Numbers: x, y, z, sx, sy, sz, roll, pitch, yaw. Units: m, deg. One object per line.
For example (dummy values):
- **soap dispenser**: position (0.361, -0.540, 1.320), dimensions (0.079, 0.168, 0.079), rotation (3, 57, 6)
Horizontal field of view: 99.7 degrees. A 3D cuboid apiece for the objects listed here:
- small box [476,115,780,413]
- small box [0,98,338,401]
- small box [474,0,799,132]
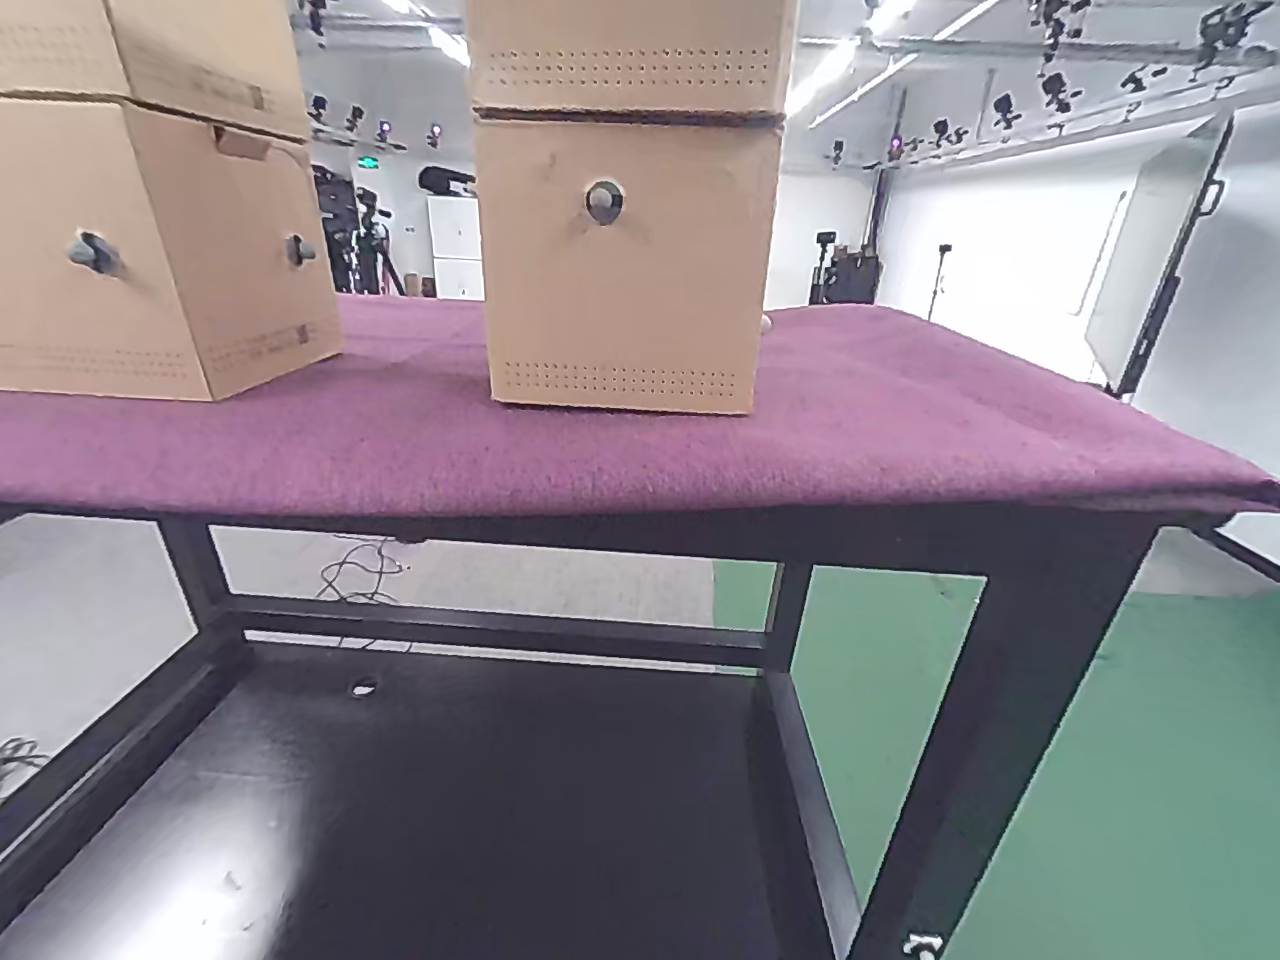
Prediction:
- **small box**: position (-0.005, -0.152, 0.403), dimensions (0.179, 0.176, 0.168), rotation (4, 23, 3)
- **small box**: position (-0.354, -0.159, 0.392), dimensions (0.179, 0.176, 0.168), rotation (2, 25, 1)
- **small box**: position (0.004, -0.301, 0.335), dimensions (0.179, 0.176, 0.168), rotation (4, 23, 6)
